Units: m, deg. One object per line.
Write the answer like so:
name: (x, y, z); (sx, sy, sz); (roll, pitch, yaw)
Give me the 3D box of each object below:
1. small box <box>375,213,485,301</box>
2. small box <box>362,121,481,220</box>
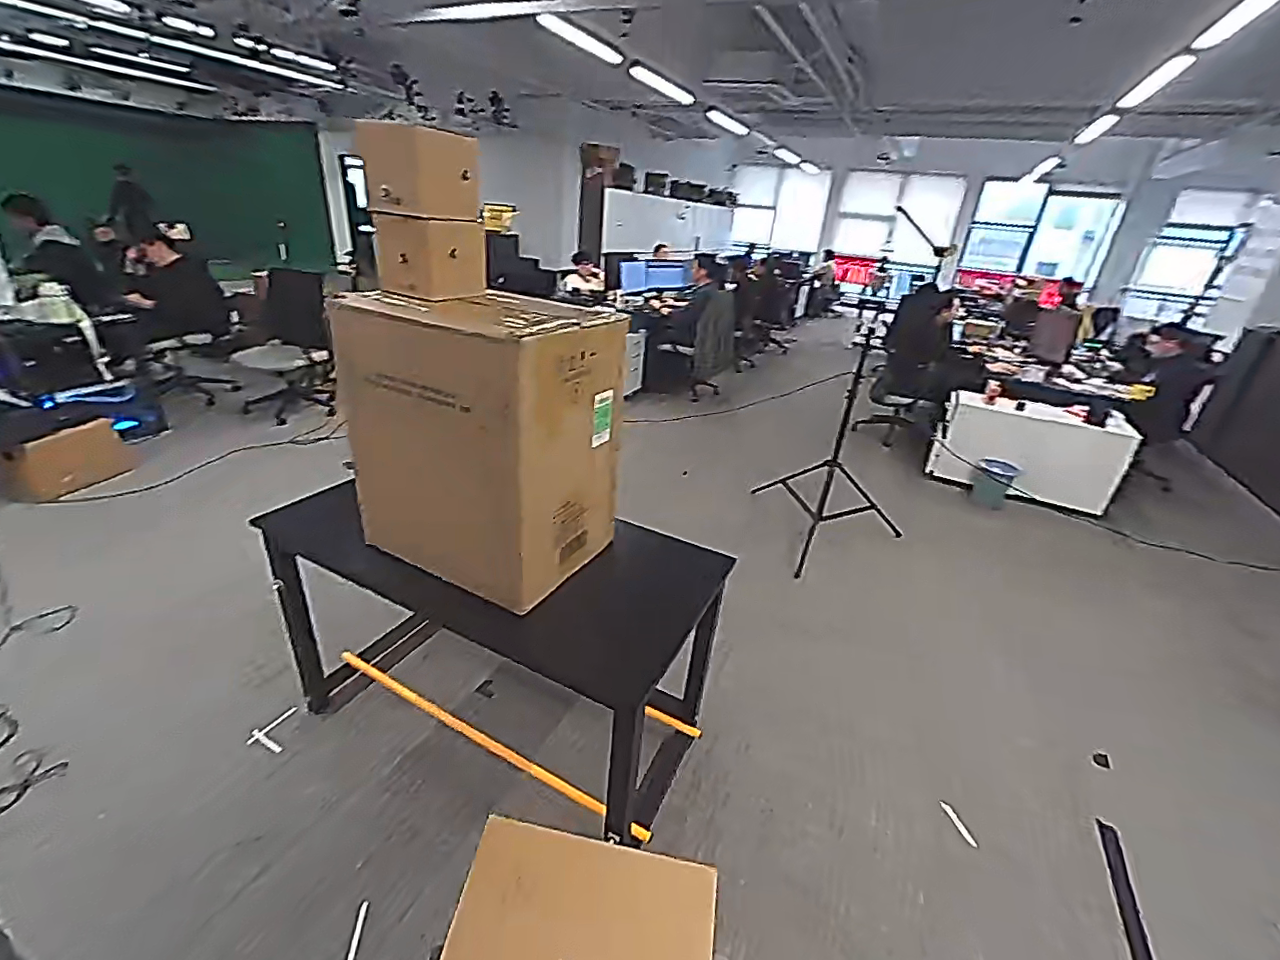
small box: (-0.472, -0.515, 1.247); (0.168, 0.176, 0.179); (17, 29, 21)
small box: (-0.464, -0.657, 1.166); (0.168, 0.176, 0.179); (16, 28, 21)
